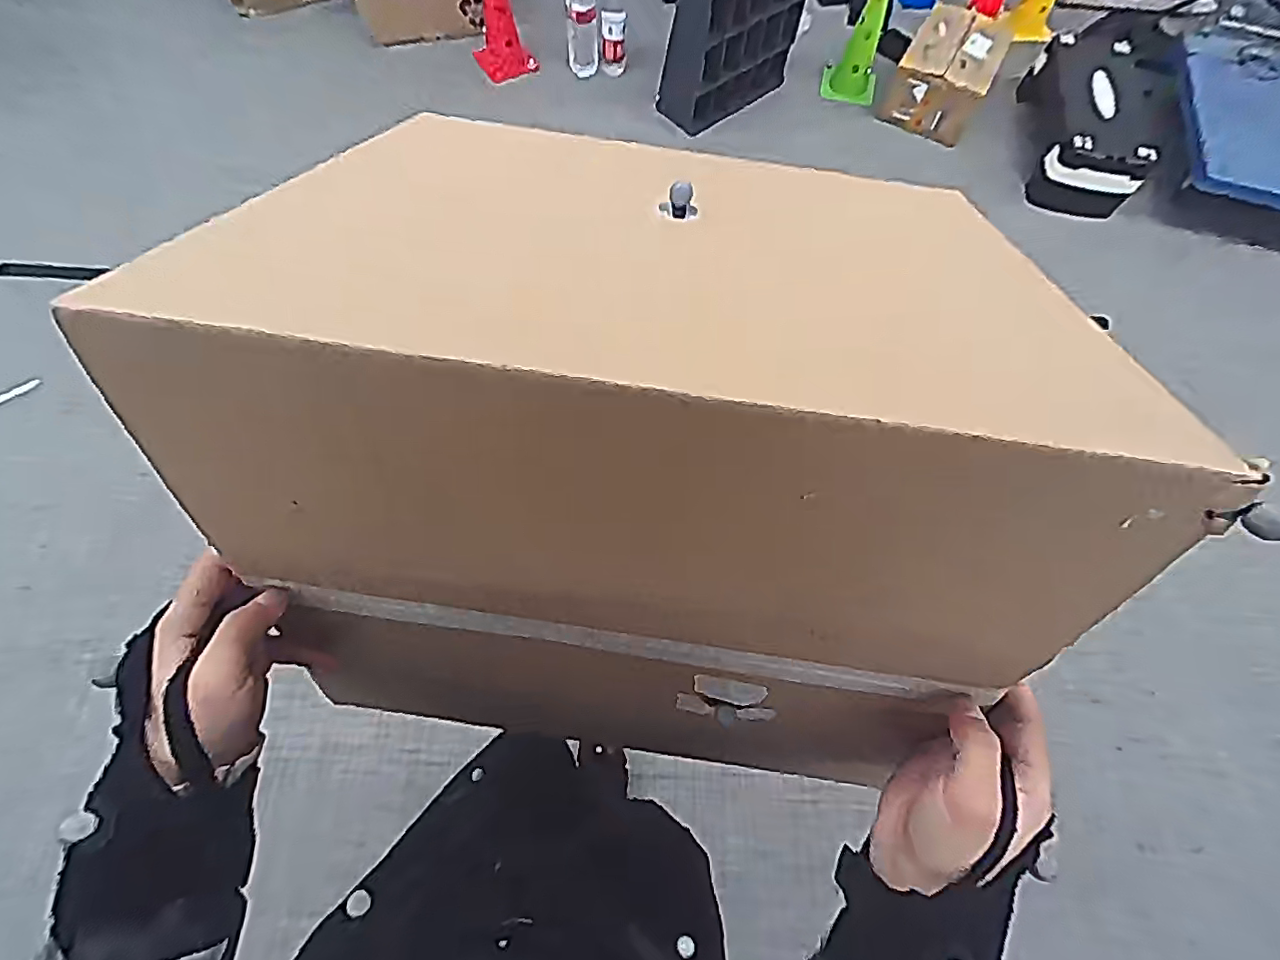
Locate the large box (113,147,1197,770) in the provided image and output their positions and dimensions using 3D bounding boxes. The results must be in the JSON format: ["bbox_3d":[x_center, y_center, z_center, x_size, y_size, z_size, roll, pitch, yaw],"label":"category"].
[{"bbox_3d":[0.002,-0.024,0.403,0.408,0.320,0.320,8,45,1],"label":"large box"}]
